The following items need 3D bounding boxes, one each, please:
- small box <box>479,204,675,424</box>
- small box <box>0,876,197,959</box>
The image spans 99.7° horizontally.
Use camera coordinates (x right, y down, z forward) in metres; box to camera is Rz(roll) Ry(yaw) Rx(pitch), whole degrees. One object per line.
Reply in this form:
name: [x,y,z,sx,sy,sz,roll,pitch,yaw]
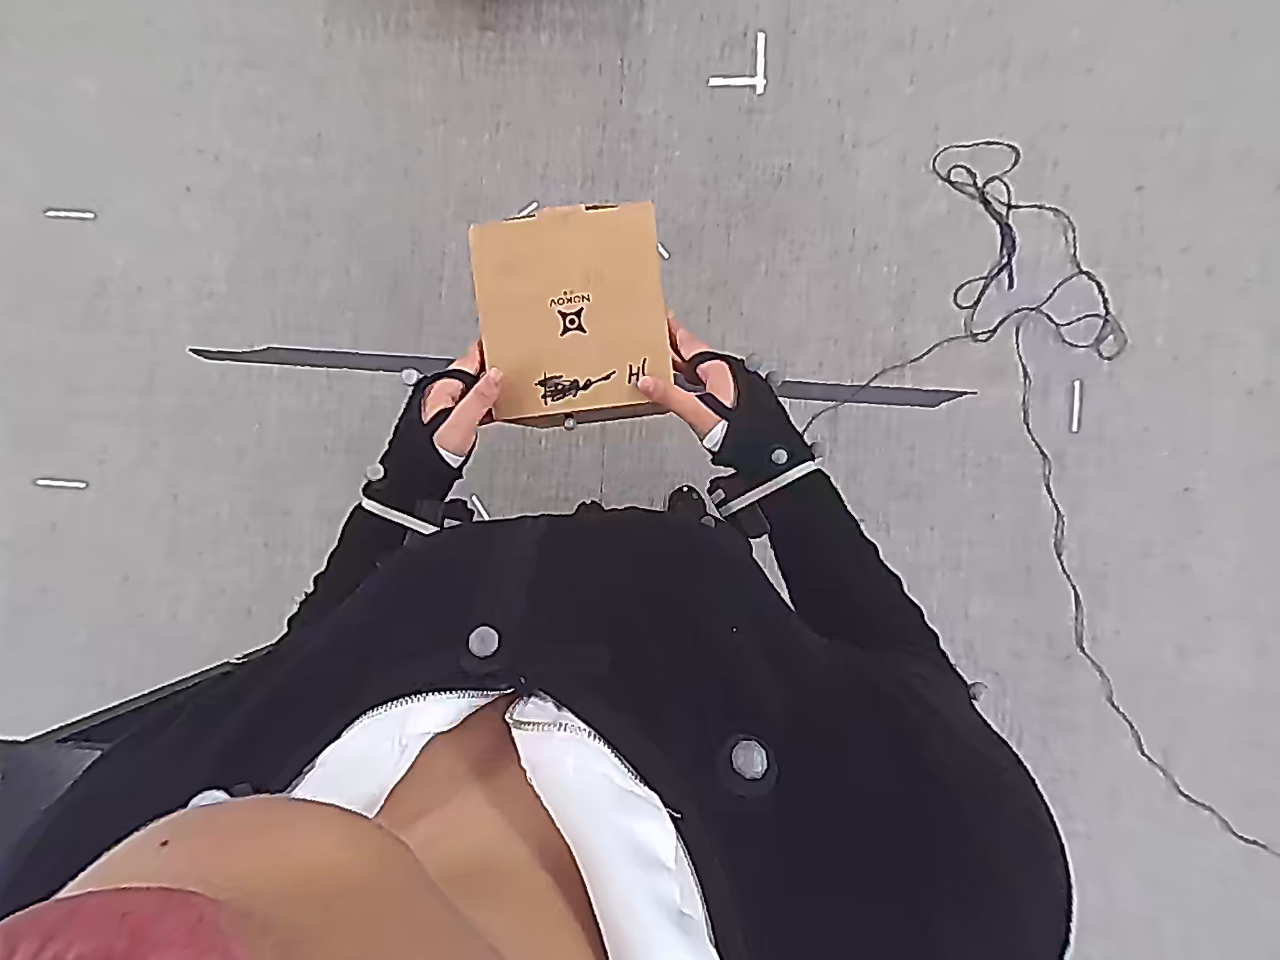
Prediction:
small box: [-0.055,-0.156,0.565,0.168,0.176,0.179,-6,94,2]
small box: [-0.745,0.672,0.722,0.179,0.176,0.168,5,89,3]
